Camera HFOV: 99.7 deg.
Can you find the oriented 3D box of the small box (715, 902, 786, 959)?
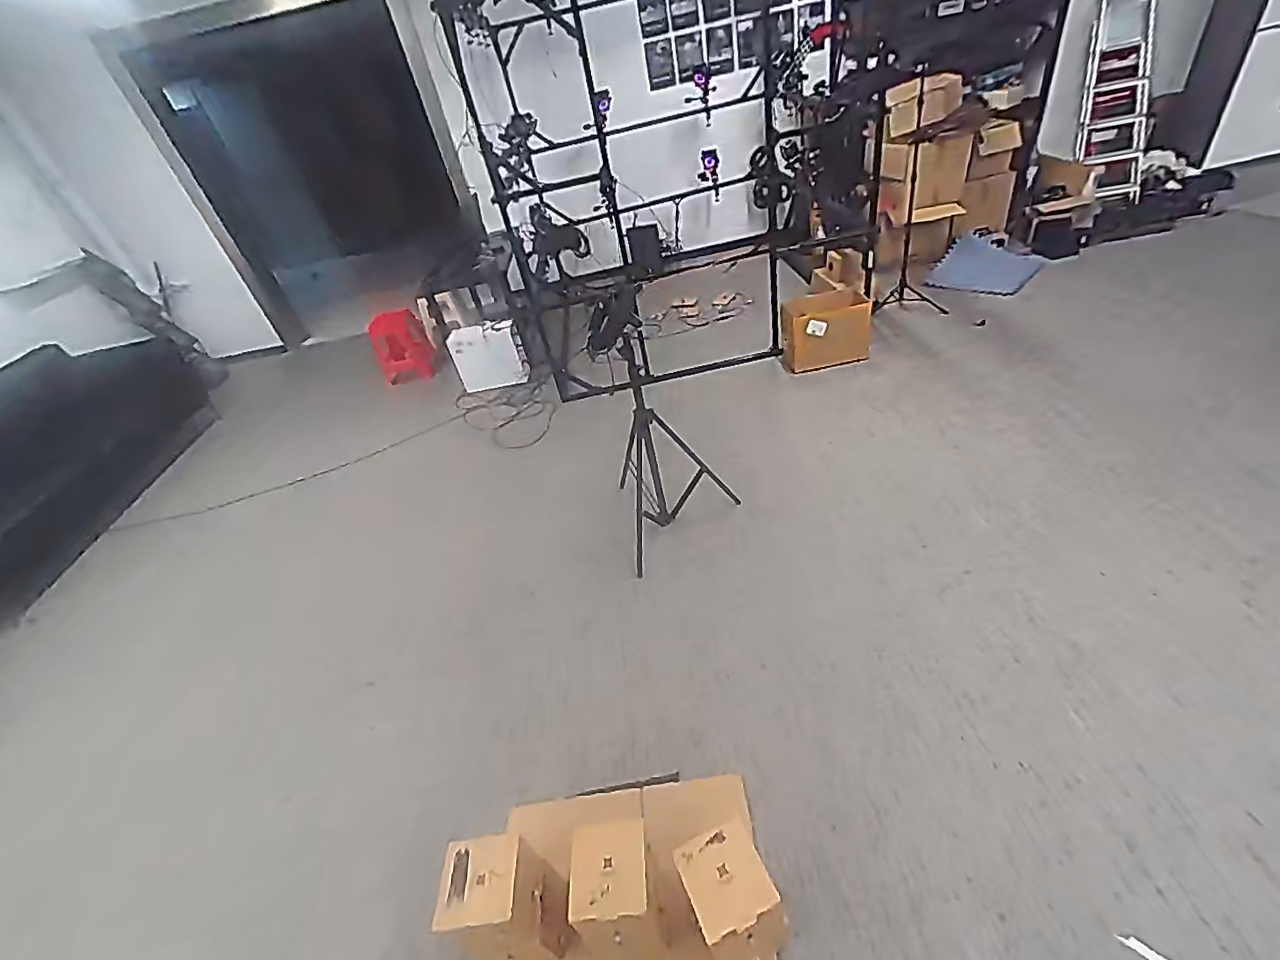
[{"bbox_3d":[0.222,0.991,1.259,0.168,0.176,0.179,-24,38,-12],"label":"small box"}]

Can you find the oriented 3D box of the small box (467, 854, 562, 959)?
[{"bbox_3d":[-0.299,1.054,1.332,0.179,0.176,0.168,-12,37,4],"label":"small box"}]

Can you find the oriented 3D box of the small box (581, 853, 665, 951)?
[{"bbox_3d":[-0.037,1.012,1.309,0.179,0.176,0.168,-10,38,5],"label":"small box"}]

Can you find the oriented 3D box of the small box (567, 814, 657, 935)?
[{"bbox_3d":[-0.057,0.882,1.210,0.168,0.176,0.179,-9,38,5],"label":"small box"}]

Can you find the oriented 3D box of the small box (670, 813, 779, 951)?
[{"bbox_3d":[0.184,0.866,1.160,0.168,0.176,0.179,-22,39,-10],"label":"small box"}]
